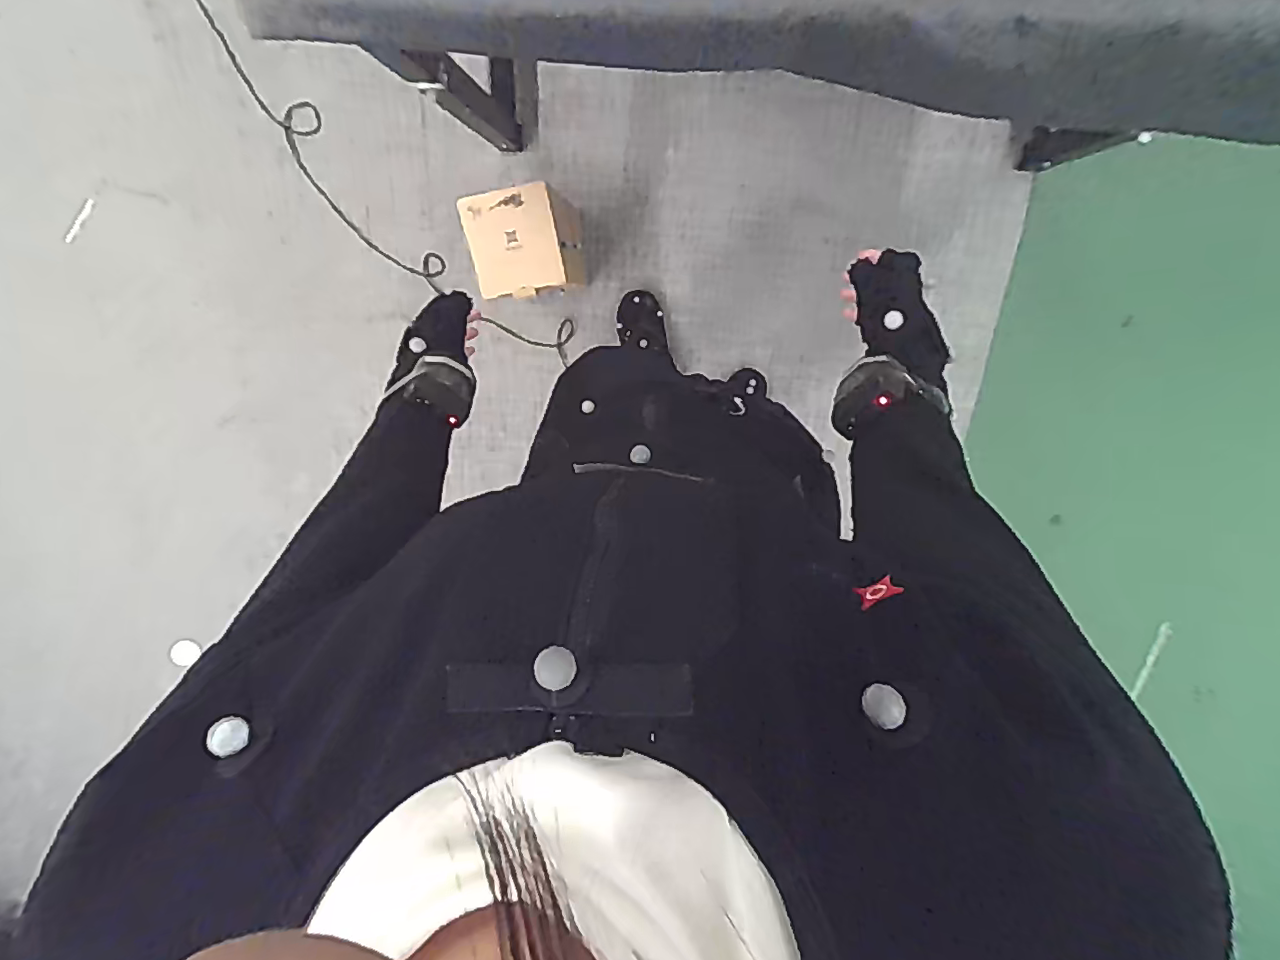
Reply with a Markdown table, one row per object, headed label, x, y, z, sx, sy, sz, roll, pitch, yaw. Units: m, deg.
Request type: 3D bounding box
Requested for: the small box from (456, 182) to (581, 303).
| label | x | y | z | sx | sy | sz | roll | pitch | yaw |
| --- | --- | --- | --- | --- | --- | --- | --- | --- | --- |
| small box | -0.225 | -0.456 | 1.056 | 0.168 | 0.176 | 0.179 | -10 | 108 | 10 |
